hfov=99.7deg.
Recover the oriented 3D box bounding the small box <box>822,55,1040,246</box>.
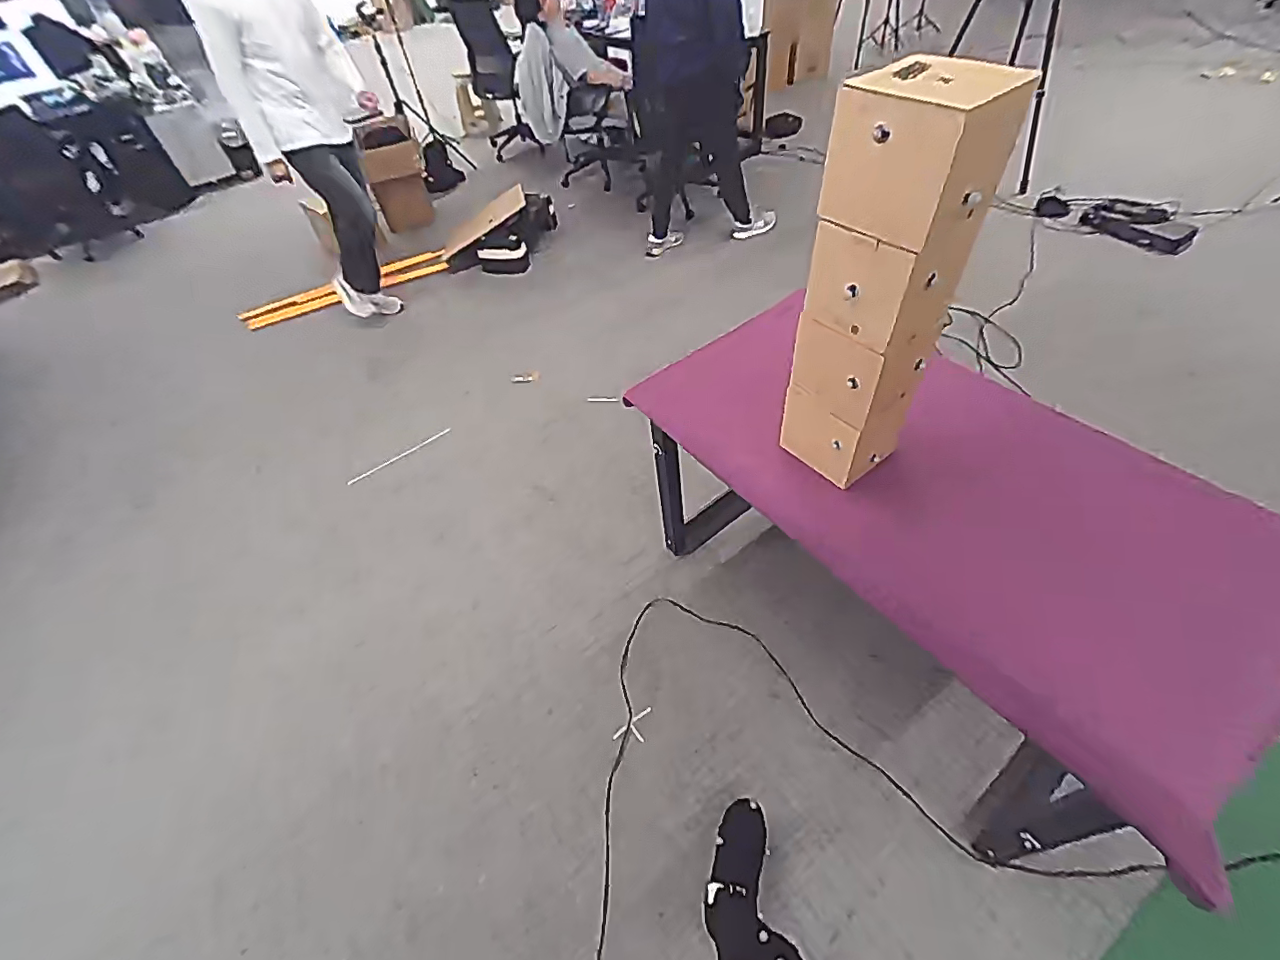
[{"bbox_3d":[0.371,-0.440,0.726,0.168,0.176,0.179,-34,55,-21],"label":"small box"}]

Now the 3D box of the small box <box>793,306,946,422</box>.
[{"bbox_3d":[0.400,-0.228,0.974,0.168,0.176,0.179,-33,53,-20],"label":"small box"}]

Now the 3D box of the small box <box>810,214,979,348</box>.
[{"bbox_3d":[0.389,-0.337,0.852,0.179,0.176,0.168,-34,55,-20],"label":"small box"}]
